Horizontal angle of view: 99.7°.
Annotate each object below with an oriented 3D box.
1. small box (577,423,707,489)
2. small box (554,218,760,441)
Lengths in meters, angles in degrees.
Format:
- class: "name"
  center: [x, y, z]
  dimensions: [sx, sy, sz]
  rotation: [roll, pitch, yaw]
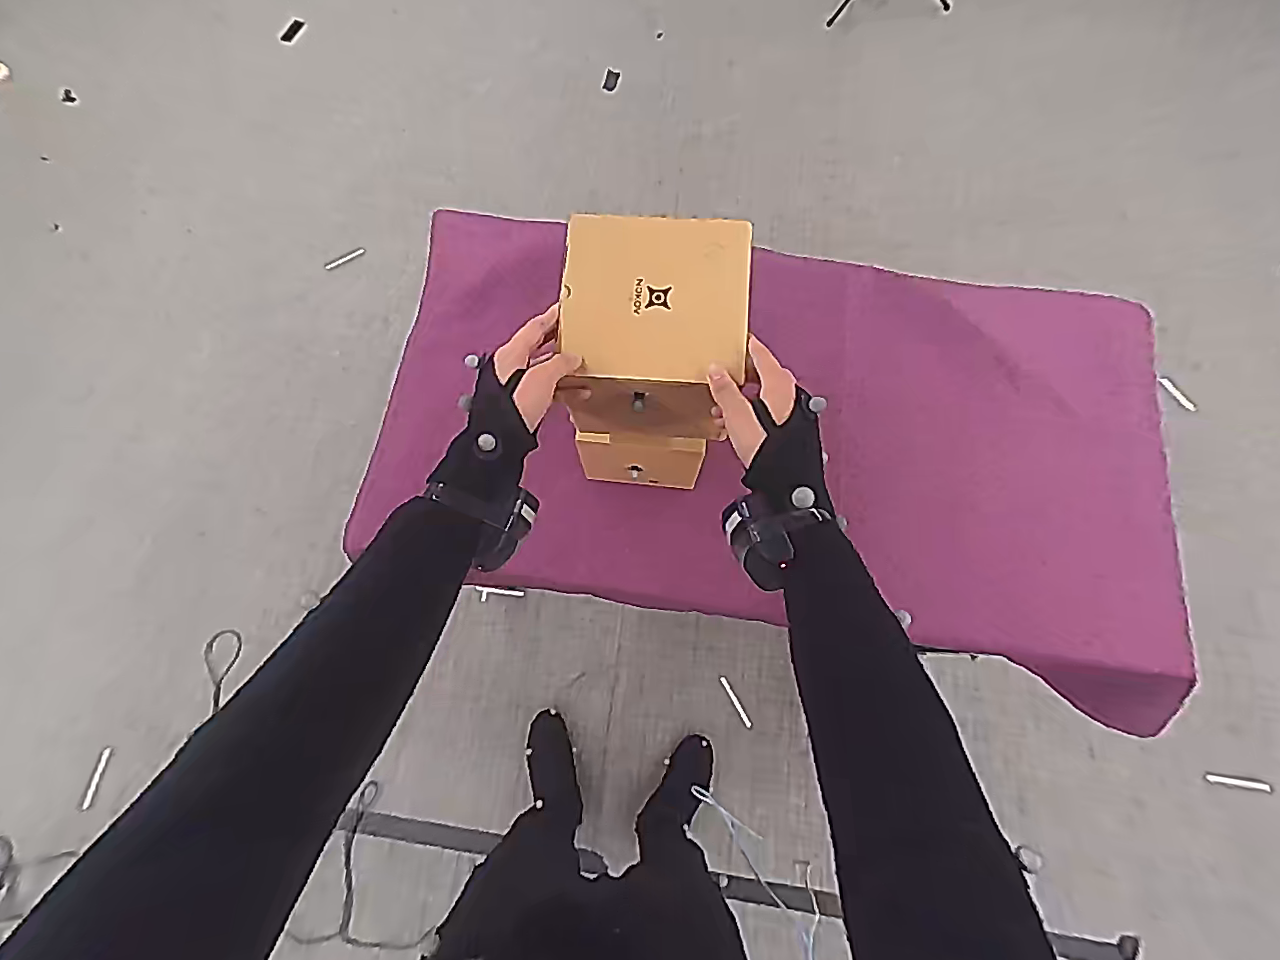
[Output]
- class: "small box"
  center: [0.013, -0.095, 0.770]
  dimensions: [0.168, 0.176, 0.179]
  rotation: [7, 73, 2]
- class: "small box"
  center: [0.021, -0.143, 0.564]
  dimensions: [0.179, 0.176, 0.168]
  rotation: [4, 78, 5]
